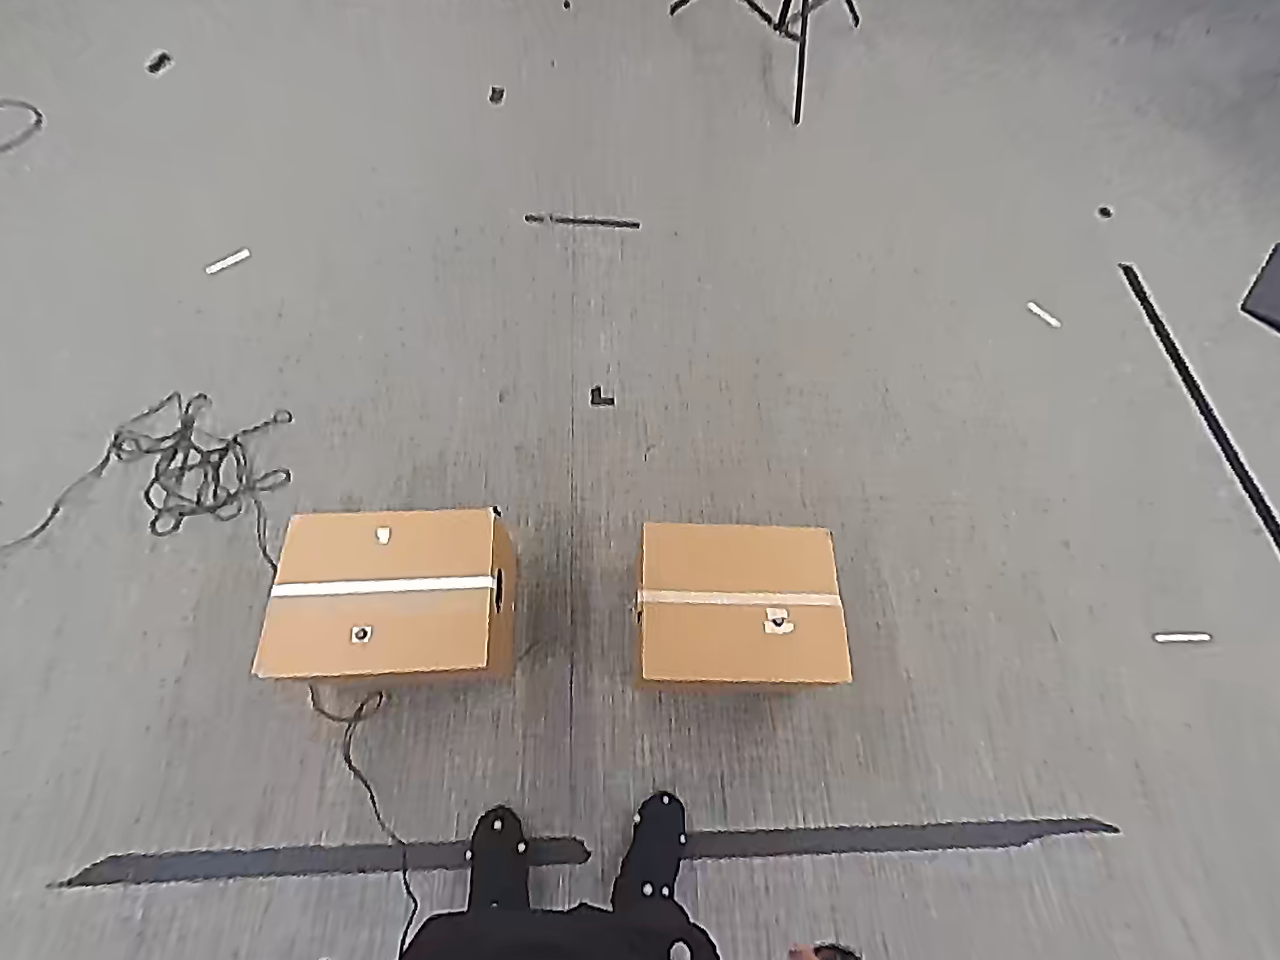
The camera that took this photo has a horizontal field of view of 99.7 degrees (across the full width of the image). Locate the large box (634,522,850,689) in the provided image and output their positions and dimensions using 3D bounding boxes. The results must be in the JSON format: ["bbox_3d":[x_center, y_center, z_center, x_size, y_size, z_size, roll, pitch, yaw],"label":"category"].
[{"bbox_3d":[0.196,0.296,1.225,0.408,0.320,0.320,3,66,-4],"label":"large box"}]
